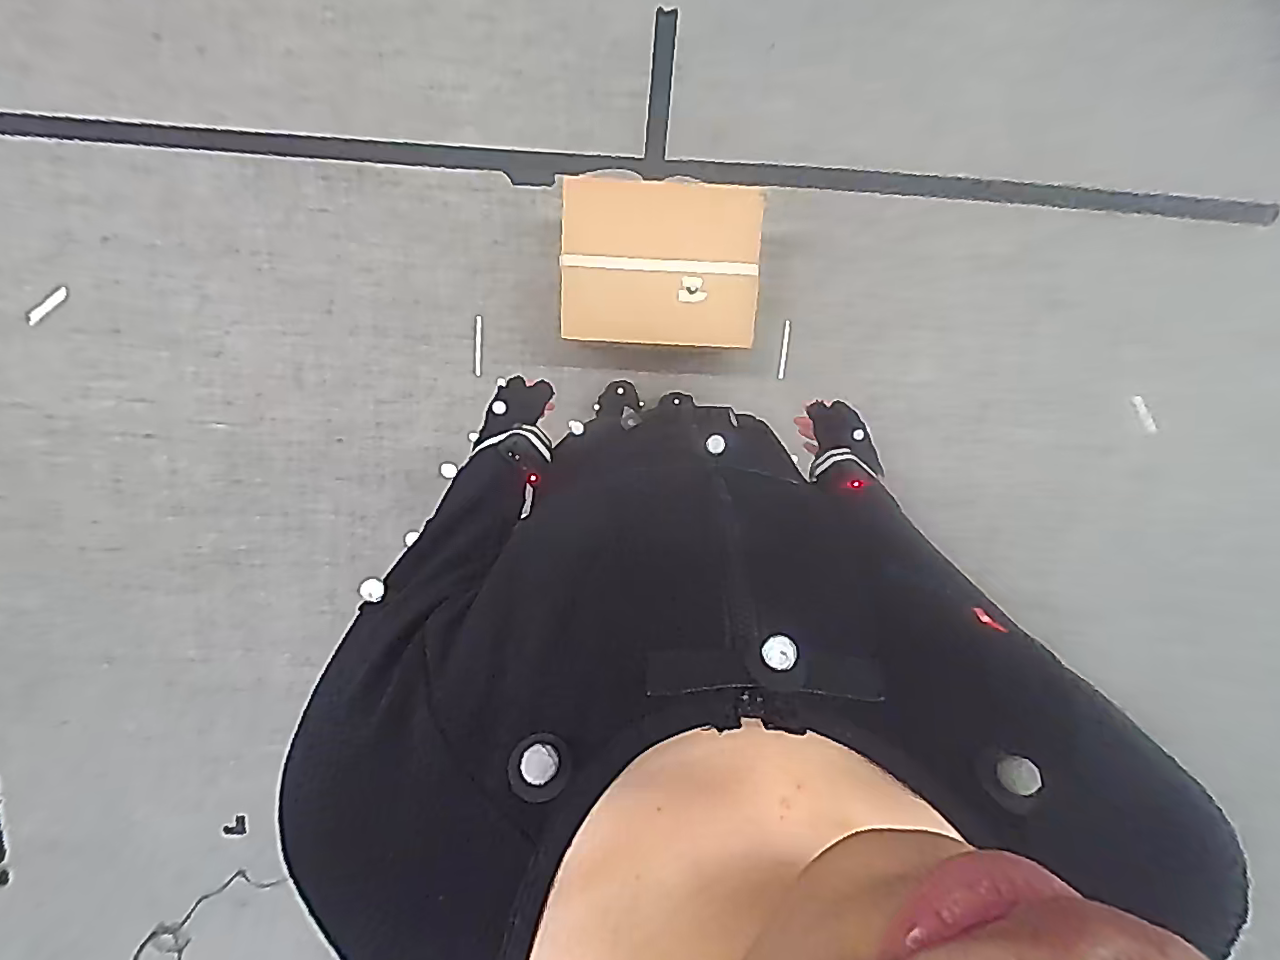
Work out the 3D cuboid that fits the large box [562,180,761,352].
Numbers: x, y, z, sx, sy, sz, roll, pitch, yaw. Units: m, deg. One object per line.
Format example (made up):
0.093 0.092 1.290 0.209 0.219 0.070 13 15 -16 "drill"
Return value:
0.033 -0.465 1.248 0.408 0.320 0.320 2 102 -3 "large box"
